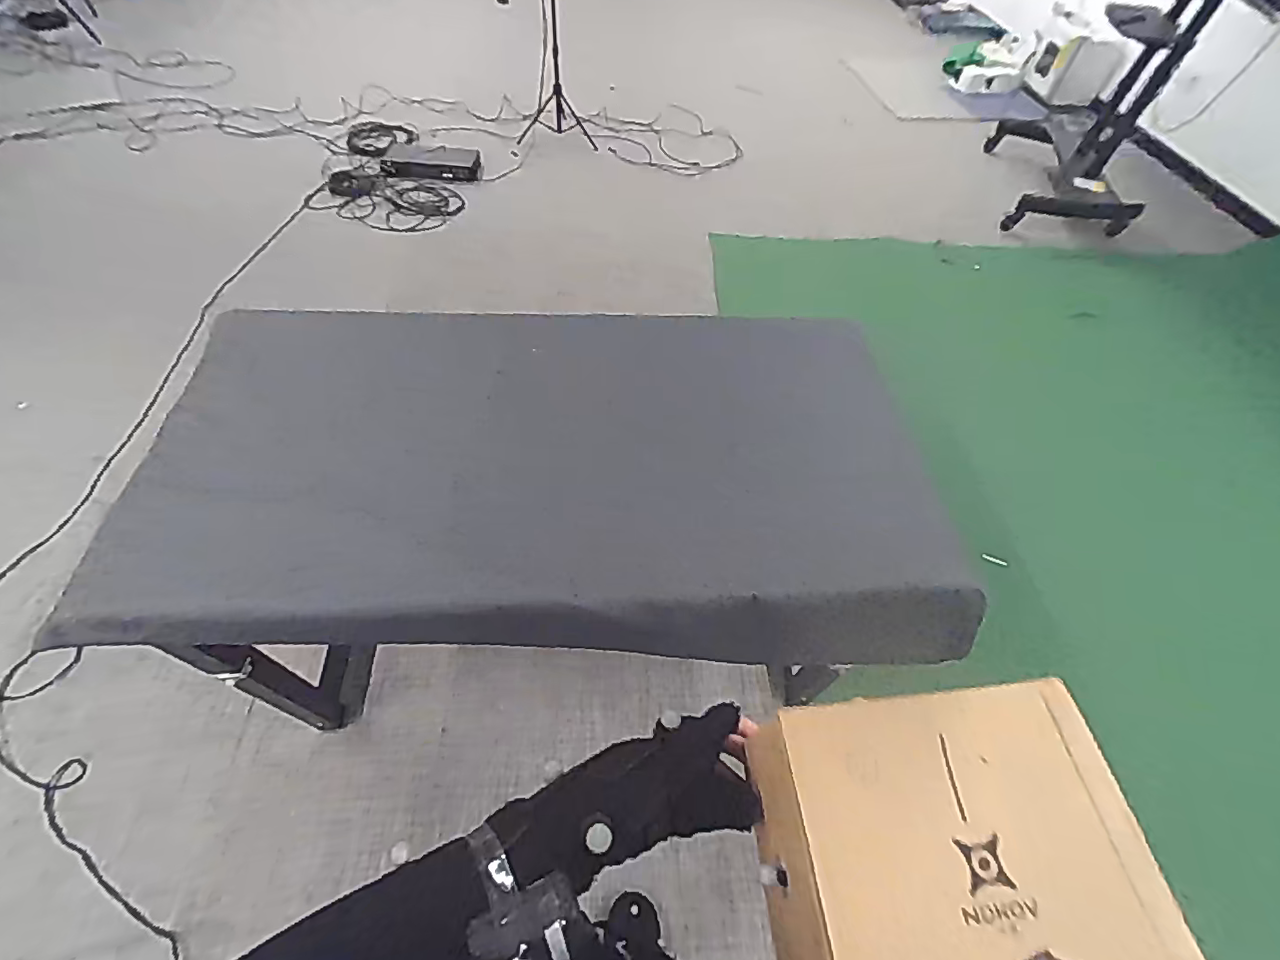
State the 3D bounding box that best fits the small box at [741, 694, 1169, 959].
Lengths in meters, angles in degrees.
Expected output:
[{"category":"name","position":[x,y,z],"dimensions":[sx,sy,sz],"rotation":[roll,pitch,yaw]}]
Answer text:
[{"category":"small box","position":[0.165,0.245,0.335],"dimensions":[0.168,0.176,0.179],"rotation":[-5,58,-1]}]
